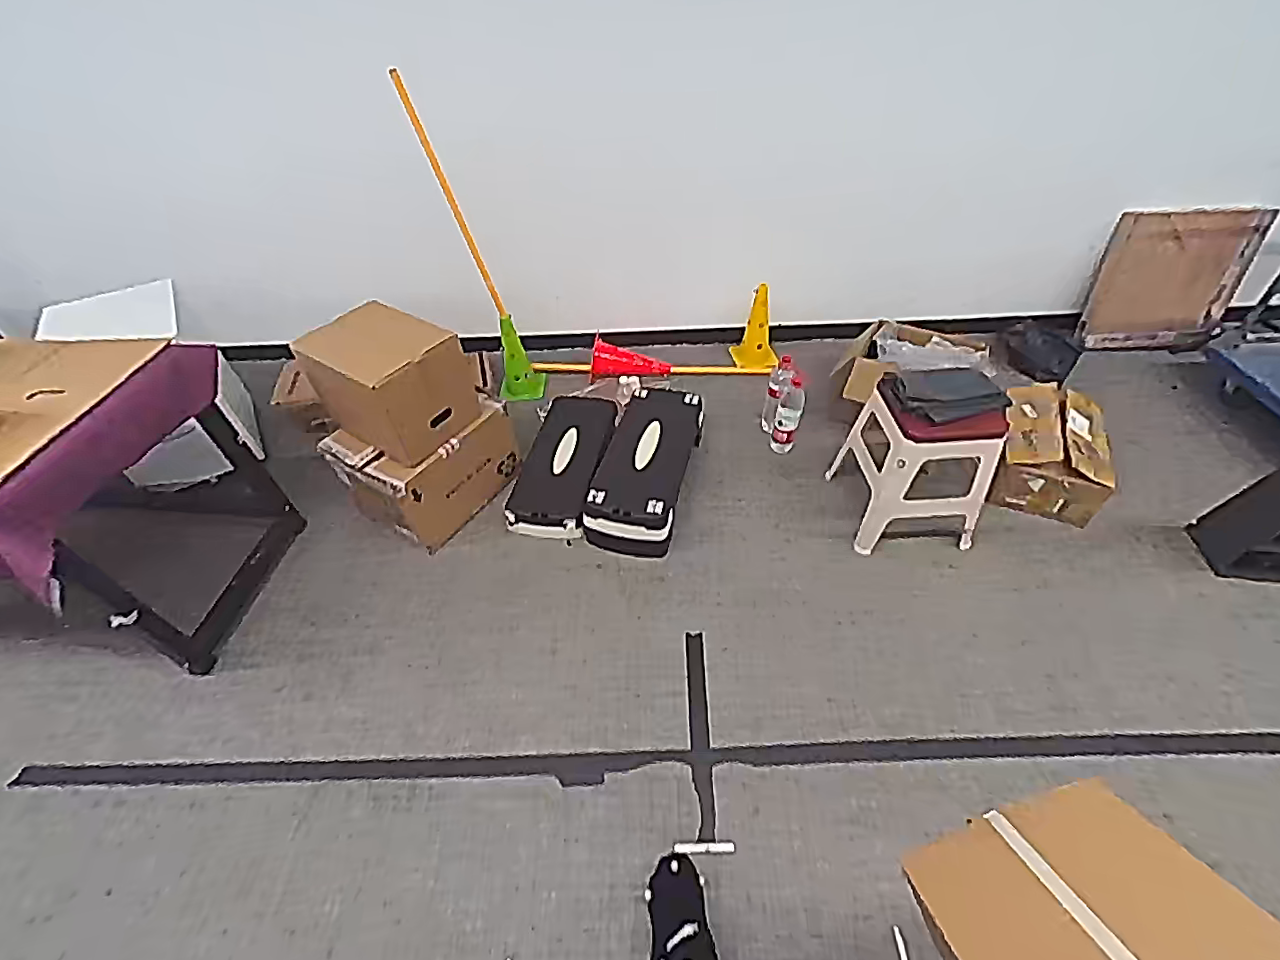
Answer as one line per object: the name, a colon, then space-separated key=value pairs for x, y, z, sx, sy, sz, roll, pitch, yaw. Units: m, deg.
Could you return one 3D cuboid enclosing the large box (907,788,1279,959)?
large box: x=0.599 y=0.670 z=0.626 sx=0.320 sy=0.320 sz=0.408 roll=-25 pitch=7 yaw=2
